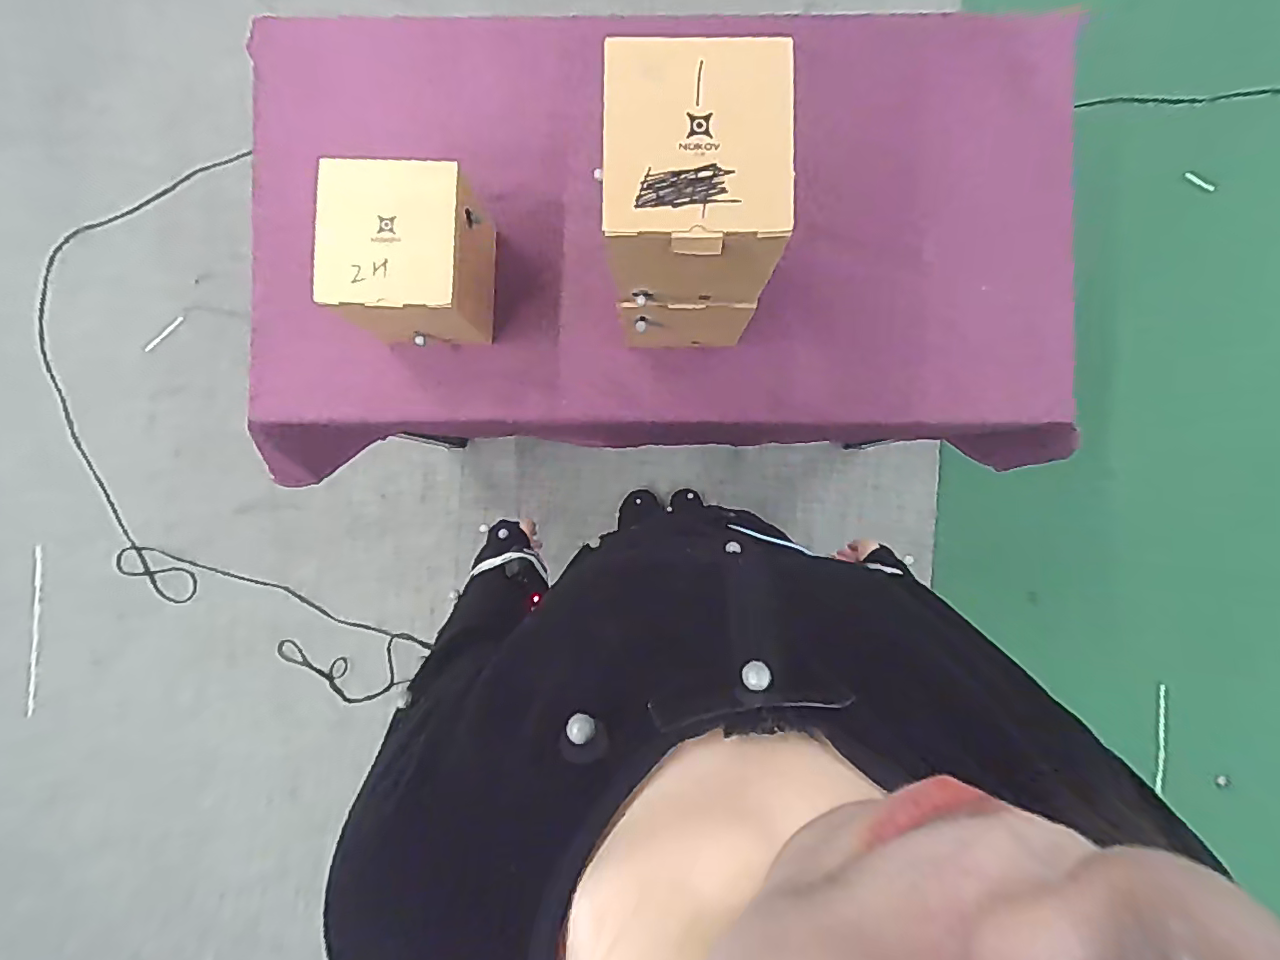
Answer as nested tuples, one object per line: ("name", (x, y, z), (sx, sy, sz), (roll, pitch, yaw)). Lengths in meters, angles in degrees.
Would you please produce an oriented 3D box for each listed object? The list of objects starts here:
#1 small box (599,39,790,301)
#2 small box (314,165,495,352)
("small box", (0.049, -0.291, 0.546), (0.168, 0.176, 0.179), (0, 87, 1))
("small box", (-0.296, -0.281, 0.715), (0.168, 0.176, 0.179), (1, 88, 1))
